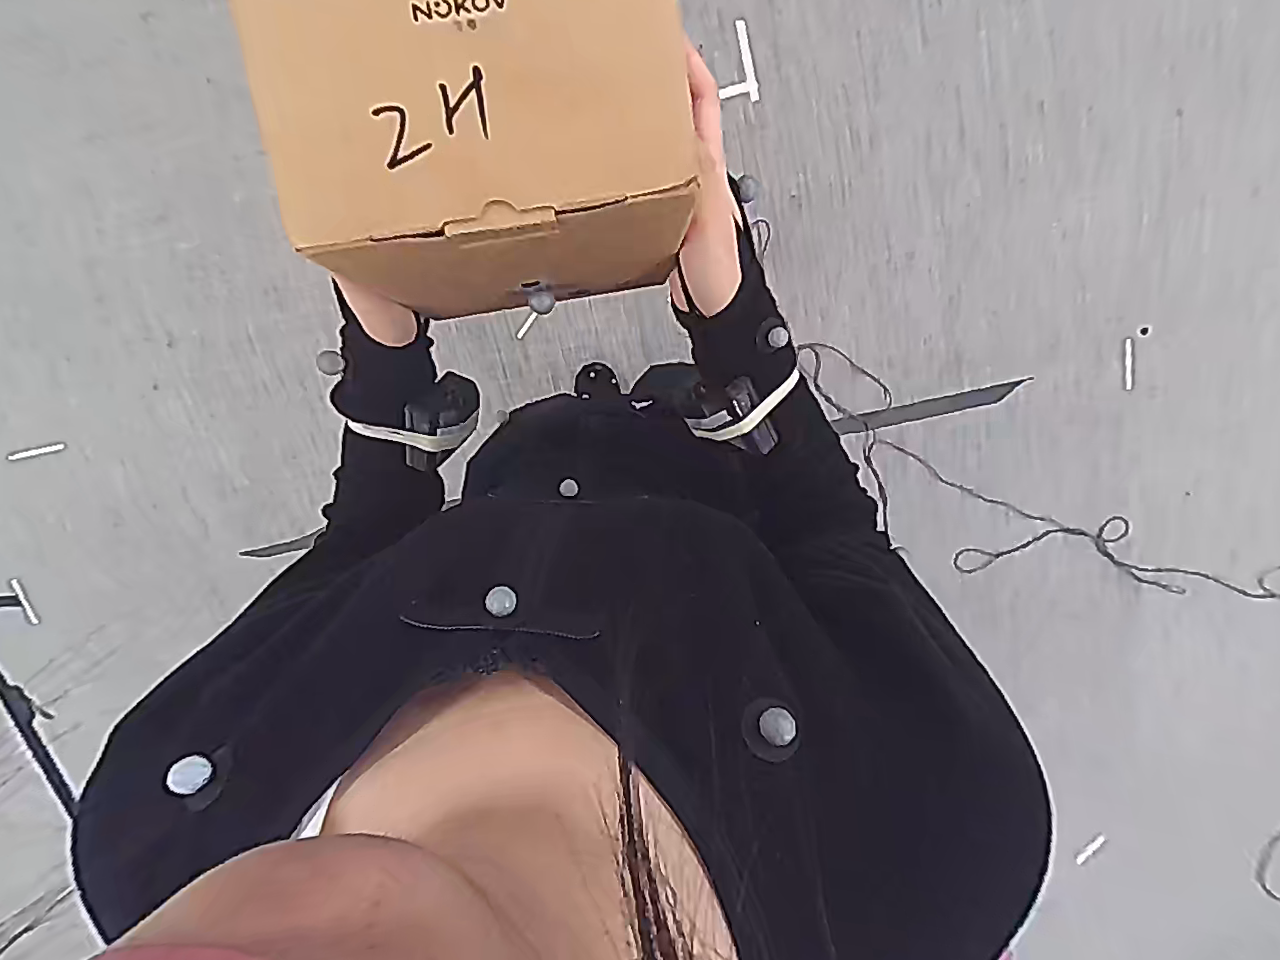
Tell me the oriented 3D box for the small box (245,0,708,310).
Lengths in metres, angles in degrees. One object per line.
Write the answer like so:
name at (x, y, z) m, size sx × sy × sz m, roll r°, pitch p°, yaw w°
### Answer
small box at (-0.070, -0.202, 0.280) m, size 0.168 × 0.176 × 0.179 m, roll -9°, pitch 98°, yaw -1°
